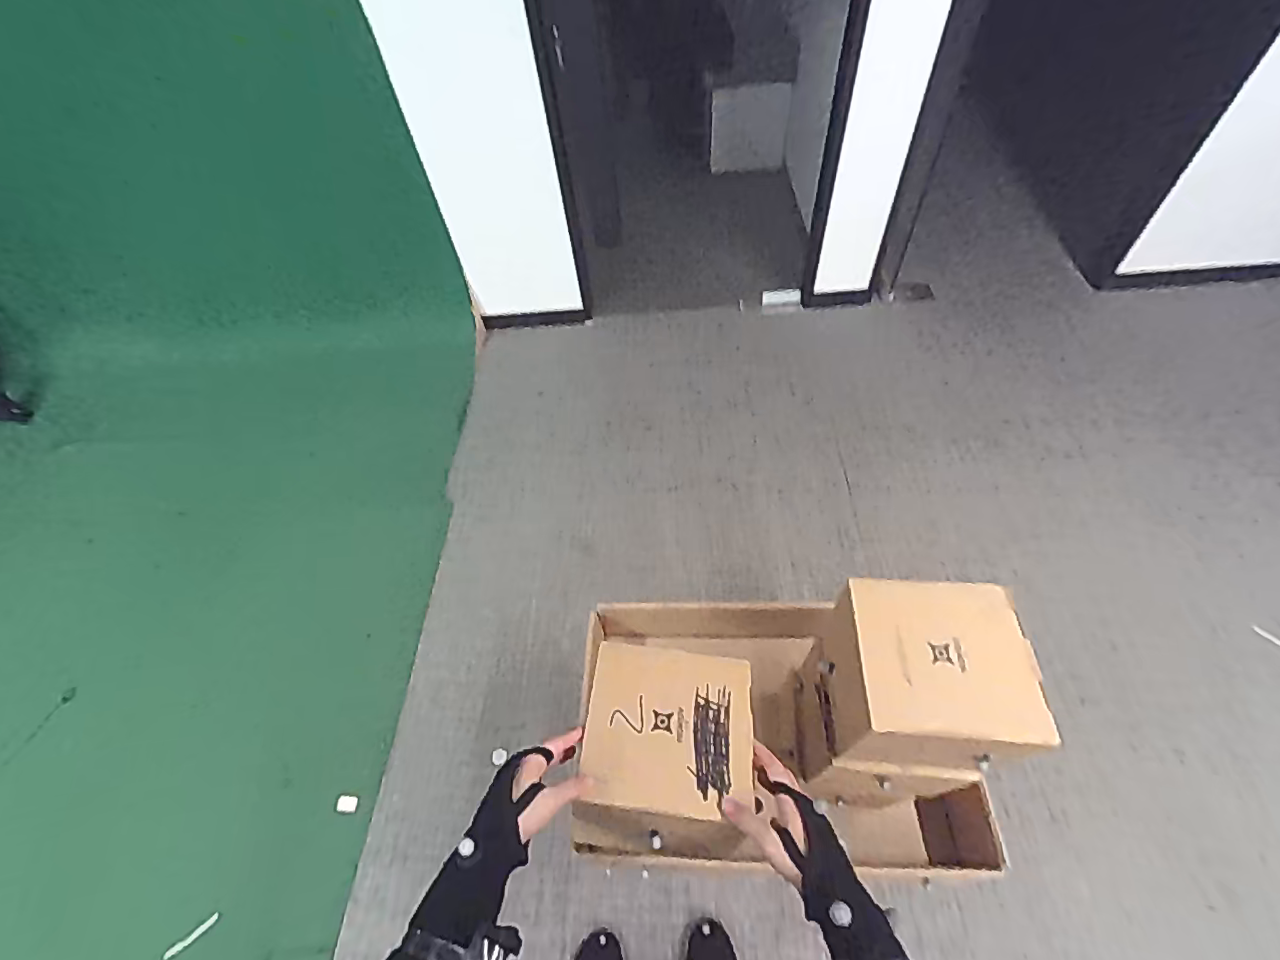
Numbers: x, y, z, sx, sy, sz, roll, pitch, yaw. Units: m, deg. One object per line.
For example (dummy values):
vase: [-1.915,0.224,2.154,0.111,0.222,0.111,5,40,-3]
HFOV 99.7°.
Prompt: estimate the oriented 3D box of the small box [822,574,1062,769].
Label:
small box: [0.321,0.223,0.621,0.179,0.176,0.168,1,53,7]

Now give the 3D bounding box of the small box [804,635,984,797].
small box: [0.328,0.328,0.745,0.179,0.176,0.168,2,53,7]
